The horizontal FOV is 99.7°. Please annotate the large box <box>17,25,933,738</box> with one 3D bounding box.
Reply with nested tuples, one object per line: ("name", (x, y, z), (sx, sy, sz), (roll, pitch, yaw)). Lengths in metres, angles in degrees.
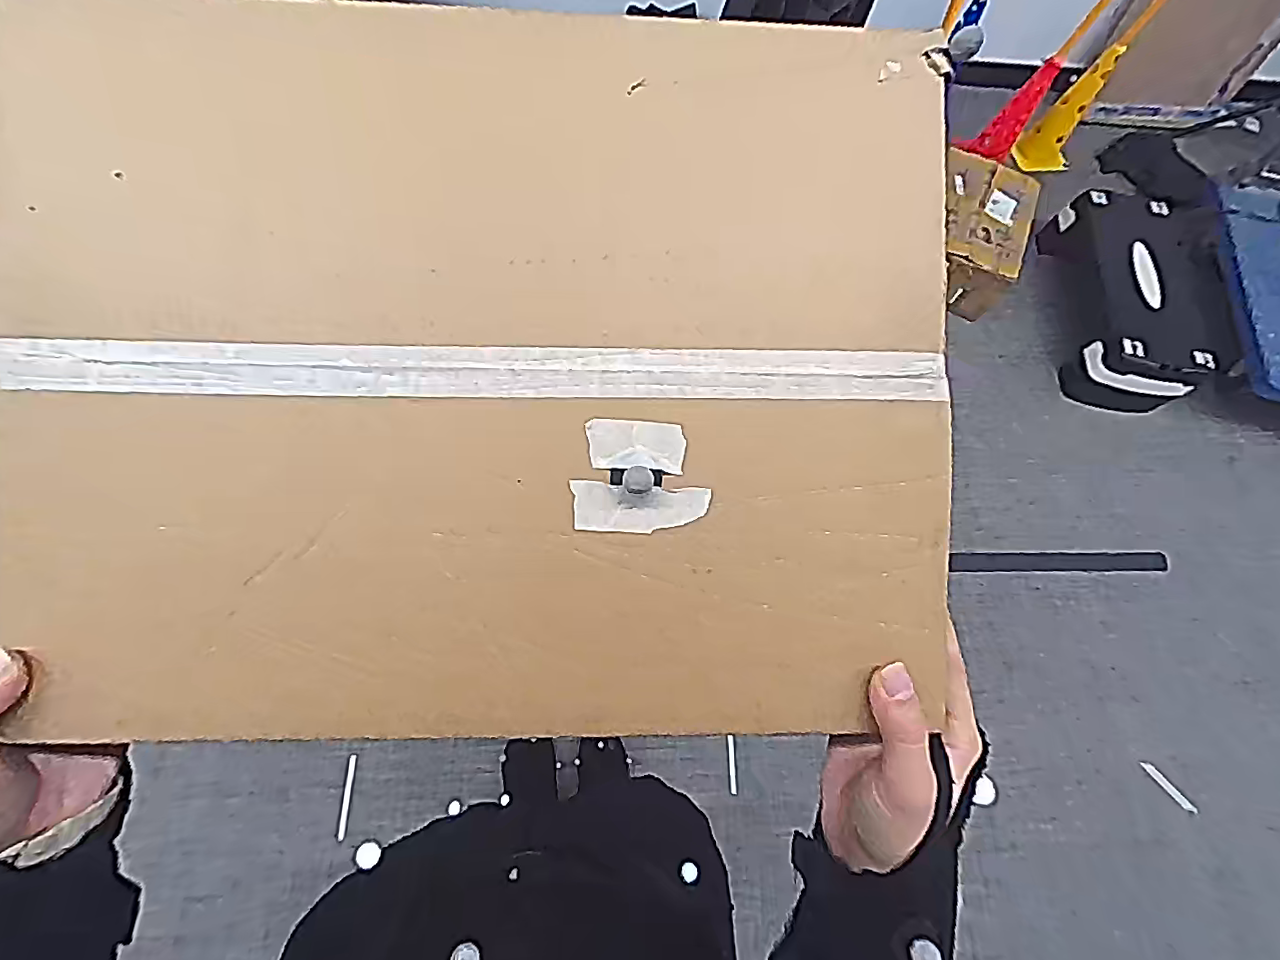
("large box", (-0.073, -0.043, 0.391), (0.408, 0.320, 0.320), (0, 90, -4))
